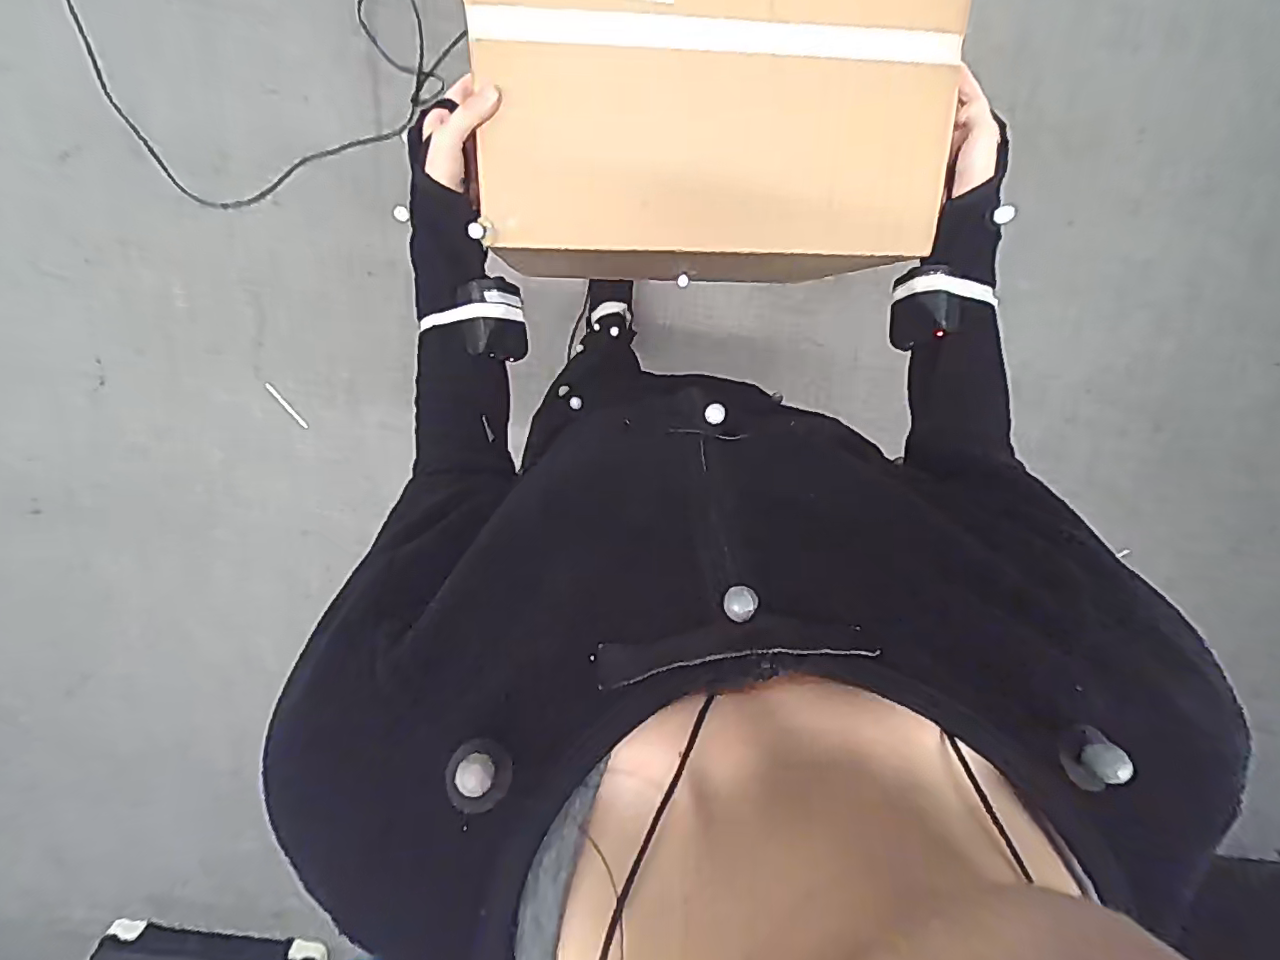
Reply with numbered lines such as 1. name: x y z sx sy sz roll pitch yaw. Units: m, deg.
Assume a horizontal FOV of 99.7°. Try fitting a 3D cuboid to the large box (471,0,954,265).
1. large box: 0.053 -0.409 0.588 0.408 0.320 0.320 -1 106 -5
